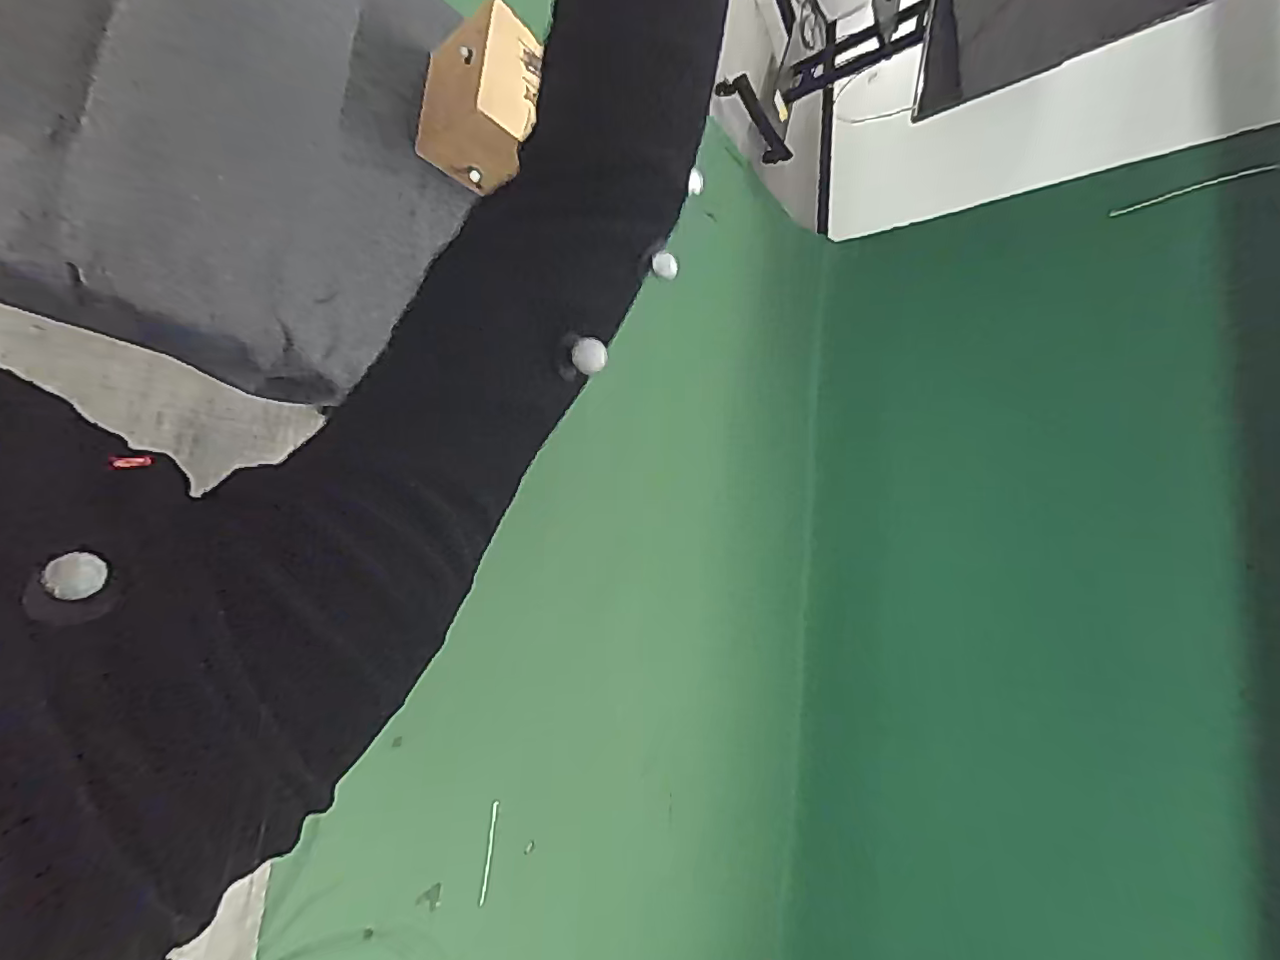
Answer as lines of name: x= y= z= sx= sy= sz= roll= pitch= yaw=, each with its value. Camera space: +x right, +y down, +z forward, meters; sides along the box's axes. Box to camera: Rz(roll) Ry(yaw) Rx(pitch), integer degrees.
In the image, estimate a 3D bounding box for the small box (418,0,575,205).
small box: x=-0.226 y=-0.577 z=0.854 sx=0.168 sy=0.176 sz=0.179 roll=14 pitch=80 yaw=-50
